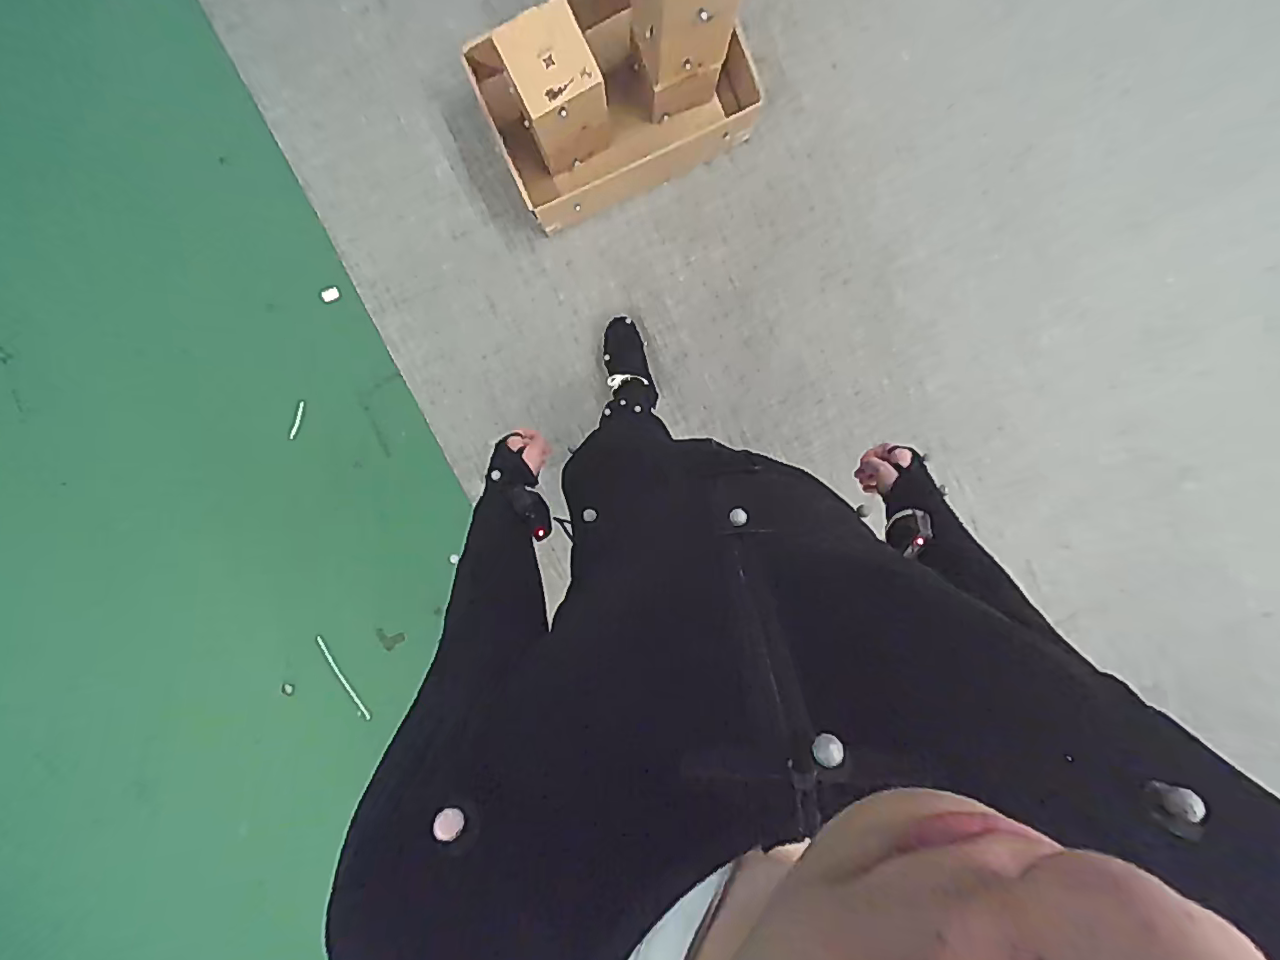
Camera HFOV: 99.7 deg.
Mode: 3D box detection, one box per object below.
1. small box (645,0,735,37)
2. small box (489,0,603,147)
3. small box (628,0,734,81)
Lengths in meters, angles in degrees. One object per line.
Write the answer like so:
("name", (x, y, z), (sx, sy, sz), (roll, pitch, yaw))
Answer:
("small box", (0.082, -0.959, 0.967), (0.168, 0.176, 0.179), (-20, 102, 3))
("small box", (-0.191, -0.859, 1.148), (0.168, 0.176, 0.179), (-27, 99, 5))
("small box", (0.077, -0.992, 1.129), (0.168, 0.176, 0.179), (-20, 102, 2))
